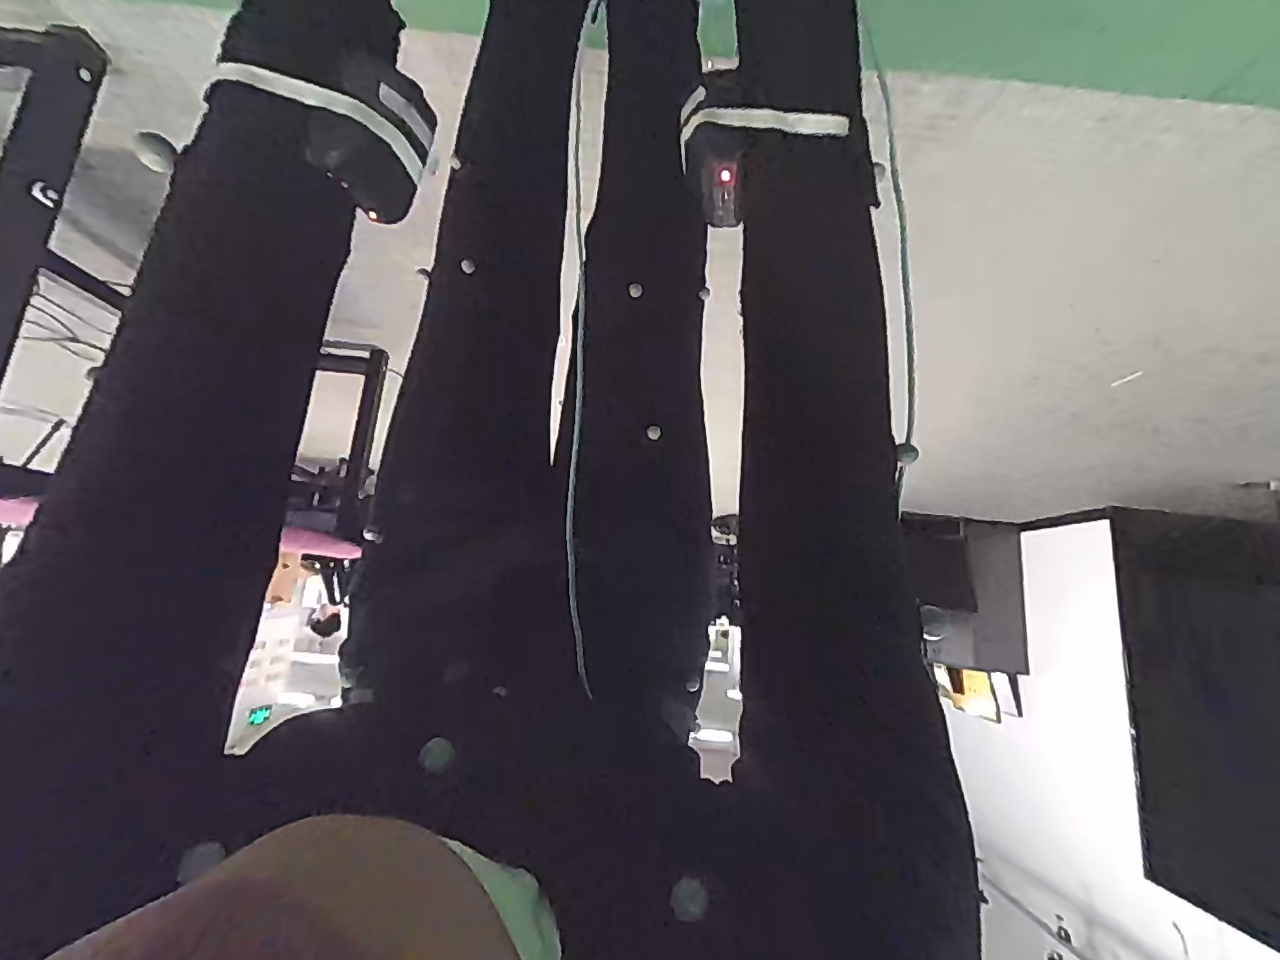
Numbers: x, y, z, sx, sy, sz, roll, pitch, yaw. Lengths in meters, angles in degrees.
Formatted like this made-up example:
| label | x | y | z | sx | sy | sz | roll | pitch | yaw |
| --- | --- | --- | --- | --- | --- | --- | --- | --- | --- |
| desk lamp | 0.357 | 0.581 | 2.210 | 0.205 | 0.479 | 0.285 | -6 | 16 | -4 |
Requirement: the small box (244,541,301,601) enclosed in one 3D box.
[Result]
| label | x | y | z | sx | sy | sz | roll | pitch | yaw |
| --- | --- | --- | --- | --- | --- | --- | --- | --- | --- |
| small box | -1.165 | 0.272 | 1.629 | 0.179 | 0.176 | 0.168 | 6 | 168 | -2 |
